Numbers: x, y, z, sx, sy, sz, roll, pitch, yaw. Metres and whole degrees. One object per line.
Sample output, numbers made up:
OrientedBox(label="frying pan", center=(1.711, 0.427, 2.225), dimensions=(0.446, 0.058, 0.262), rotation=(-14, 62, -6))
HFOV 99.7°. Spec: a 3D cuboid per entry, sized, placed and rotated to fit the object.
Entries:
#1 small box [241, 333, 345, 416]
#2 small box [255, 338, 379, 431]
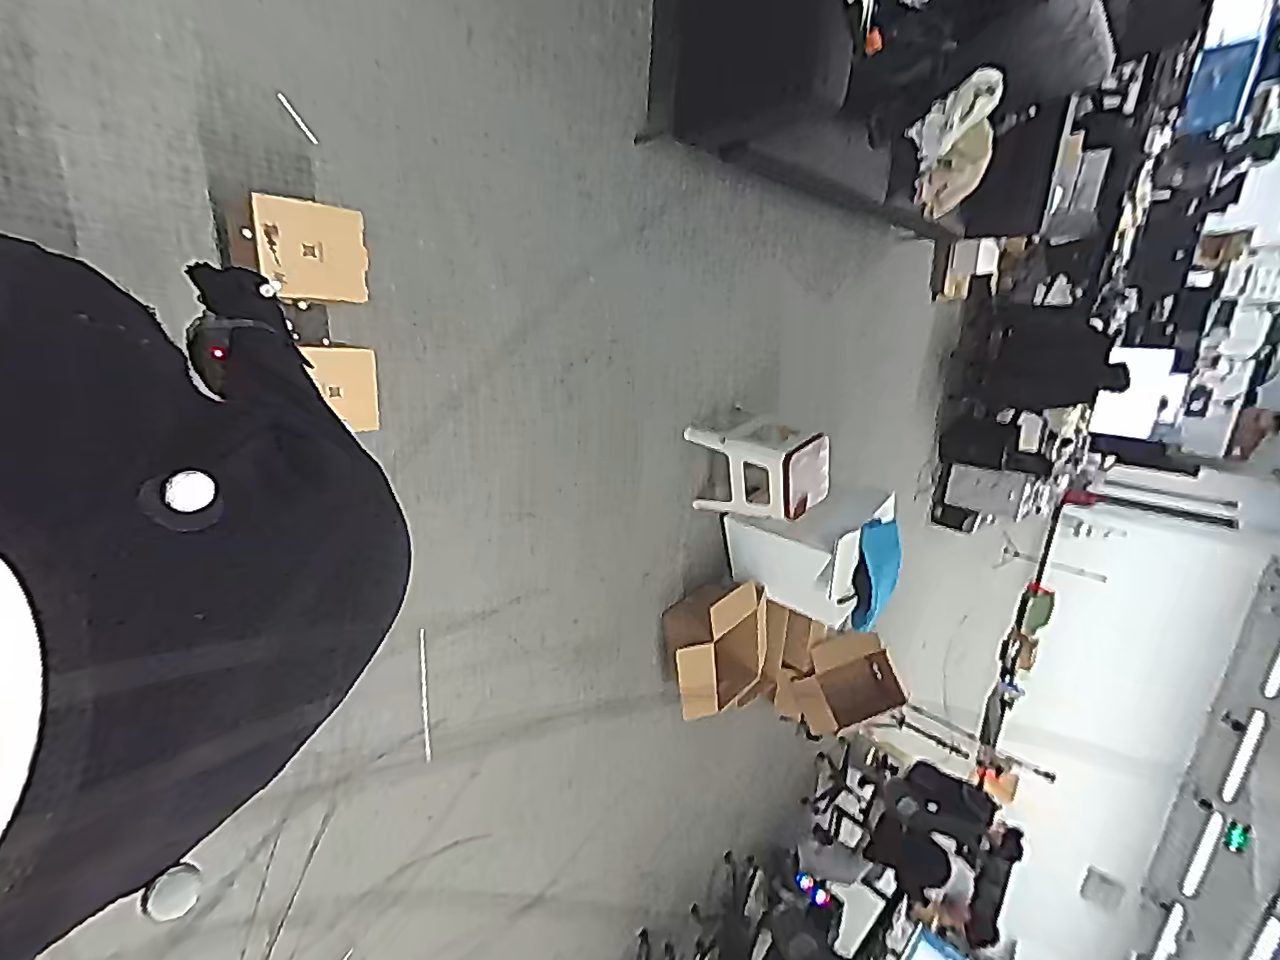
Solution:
OrientedBox(label="small box", center=(-0.770, -0.237, 1.204), dimensions=(0.179, 0.176, 0.168), rotation=(-11, 111, -43))
OrientedBox(label="small box", center=(-0.652, -0.198, 1.096), dimensions=(0.179, 0.176, 0.168), rotation=(-10, 110, -43))
